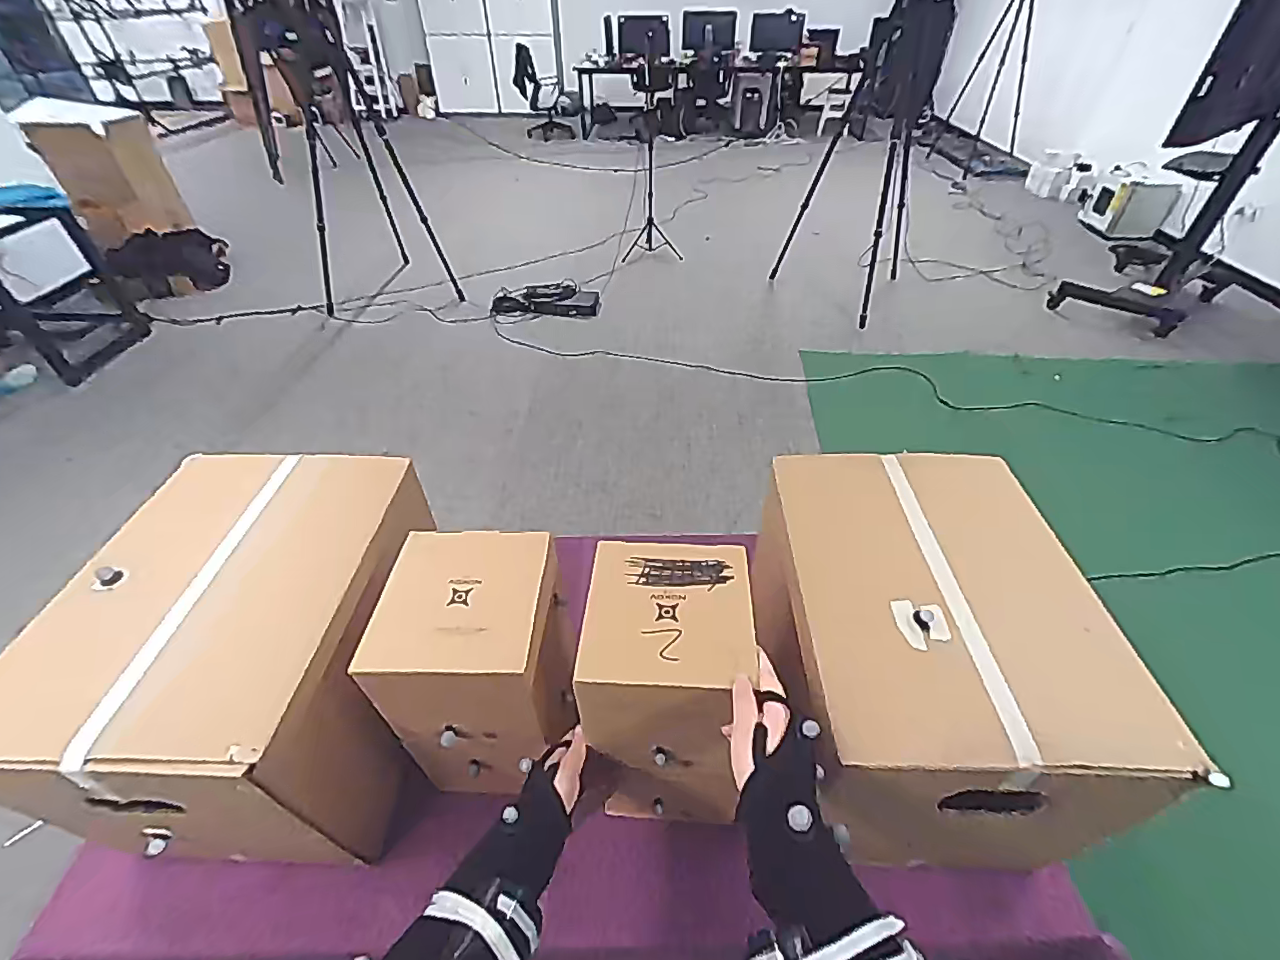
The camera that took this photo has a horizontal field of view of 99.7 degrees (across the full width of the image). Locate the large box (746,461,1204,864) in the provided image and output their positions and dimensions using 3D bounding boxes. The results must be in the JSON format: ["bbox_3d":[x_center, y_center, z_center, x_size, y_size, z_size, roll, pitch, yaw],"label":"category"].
[{"bbox_3d":[0.334,0.223,0.708,0.320,0.320,0.408,1,43,2],"label":"large box"}]
